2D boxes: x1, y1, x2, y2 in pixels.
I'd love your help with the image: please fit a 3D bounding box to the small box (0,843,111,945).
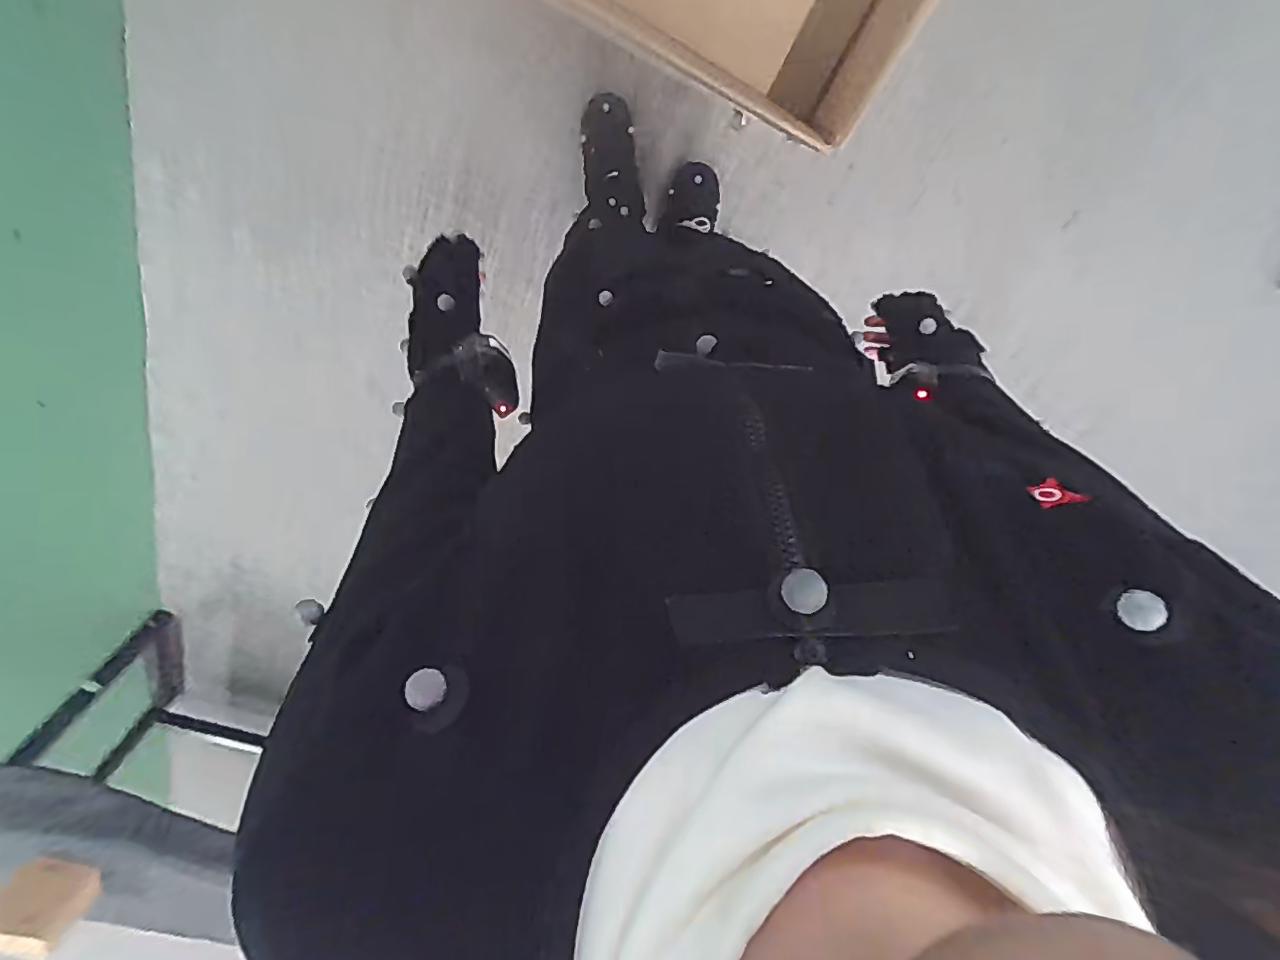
[{"bbox_3d":[-1.619,1.141,1.492,0.168,0.176,0.179,23,123,-14],"label":"small box"}]
